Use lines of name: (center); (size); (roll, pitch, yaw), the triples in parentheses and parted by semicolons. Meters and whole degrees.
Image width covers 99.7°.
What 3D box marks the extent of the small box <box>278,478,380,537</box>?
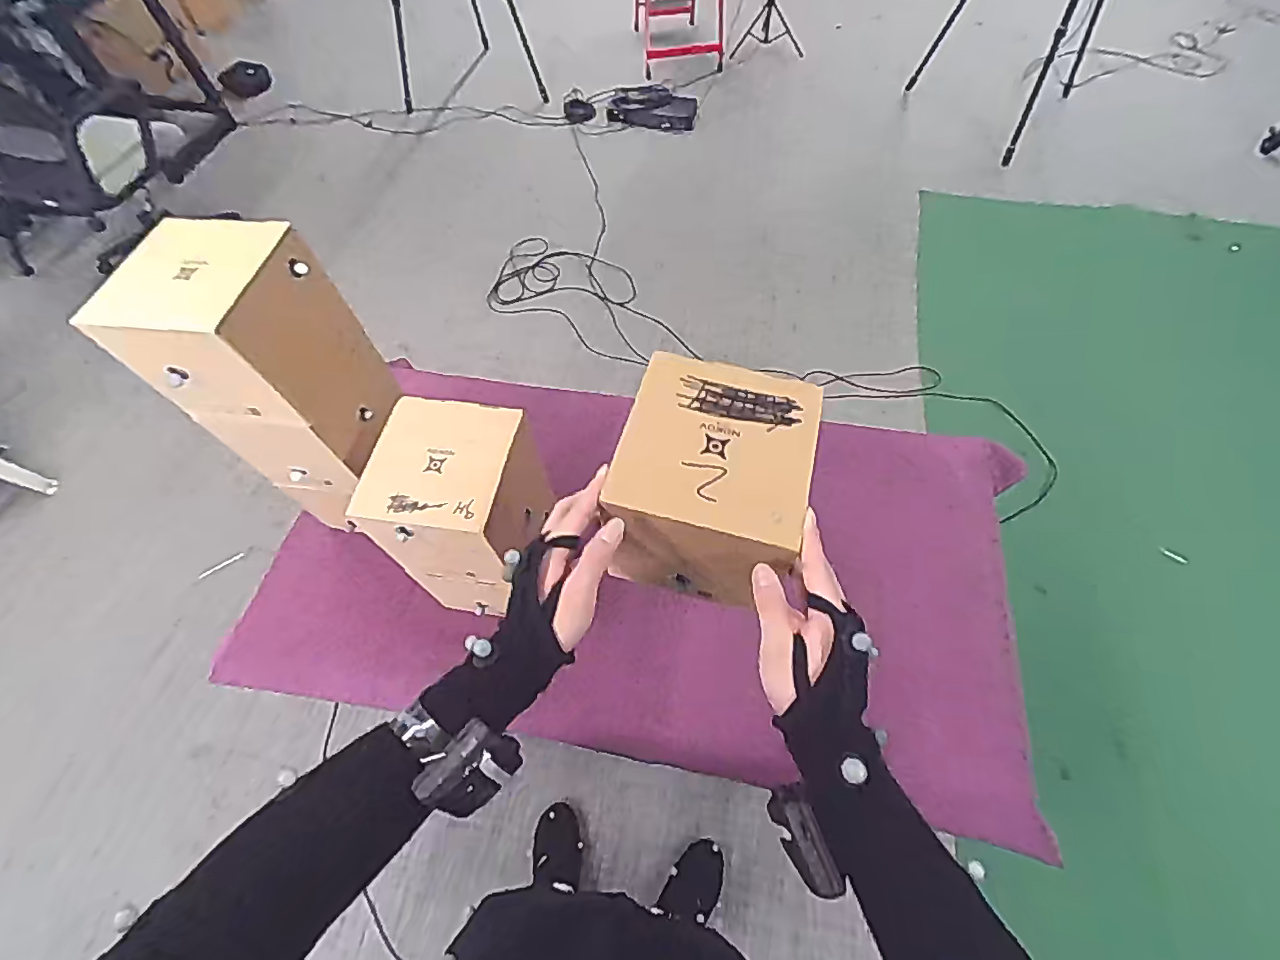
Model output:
small box: (-0.466, -0.015, 0.936); (0.168, 0.176, 0.179); (6, 61, 7)

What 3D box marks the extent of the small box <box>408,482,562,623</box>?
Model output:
small box: (-0.228, 0.107, 0.852); (0.168, 0.176, 0.179); (7, 60, 7)

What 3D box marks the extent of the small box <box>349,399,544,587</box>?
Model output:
small box: (-0.234, 0.021, 0.712); (0.168, 0.176, 0.179); (7, 59, 7)

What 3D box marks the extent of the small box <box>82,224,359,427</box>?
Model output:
small box: (-0.480, -0.181, 0.657); (0.168, 0.176, 0.179); (5, 59, 7)

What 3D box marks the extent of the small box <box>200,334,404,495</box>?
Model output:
small box: (-0.472, -0.099, 0.796); (0.168, 0.176, 0.179); (6, 61, 7)
